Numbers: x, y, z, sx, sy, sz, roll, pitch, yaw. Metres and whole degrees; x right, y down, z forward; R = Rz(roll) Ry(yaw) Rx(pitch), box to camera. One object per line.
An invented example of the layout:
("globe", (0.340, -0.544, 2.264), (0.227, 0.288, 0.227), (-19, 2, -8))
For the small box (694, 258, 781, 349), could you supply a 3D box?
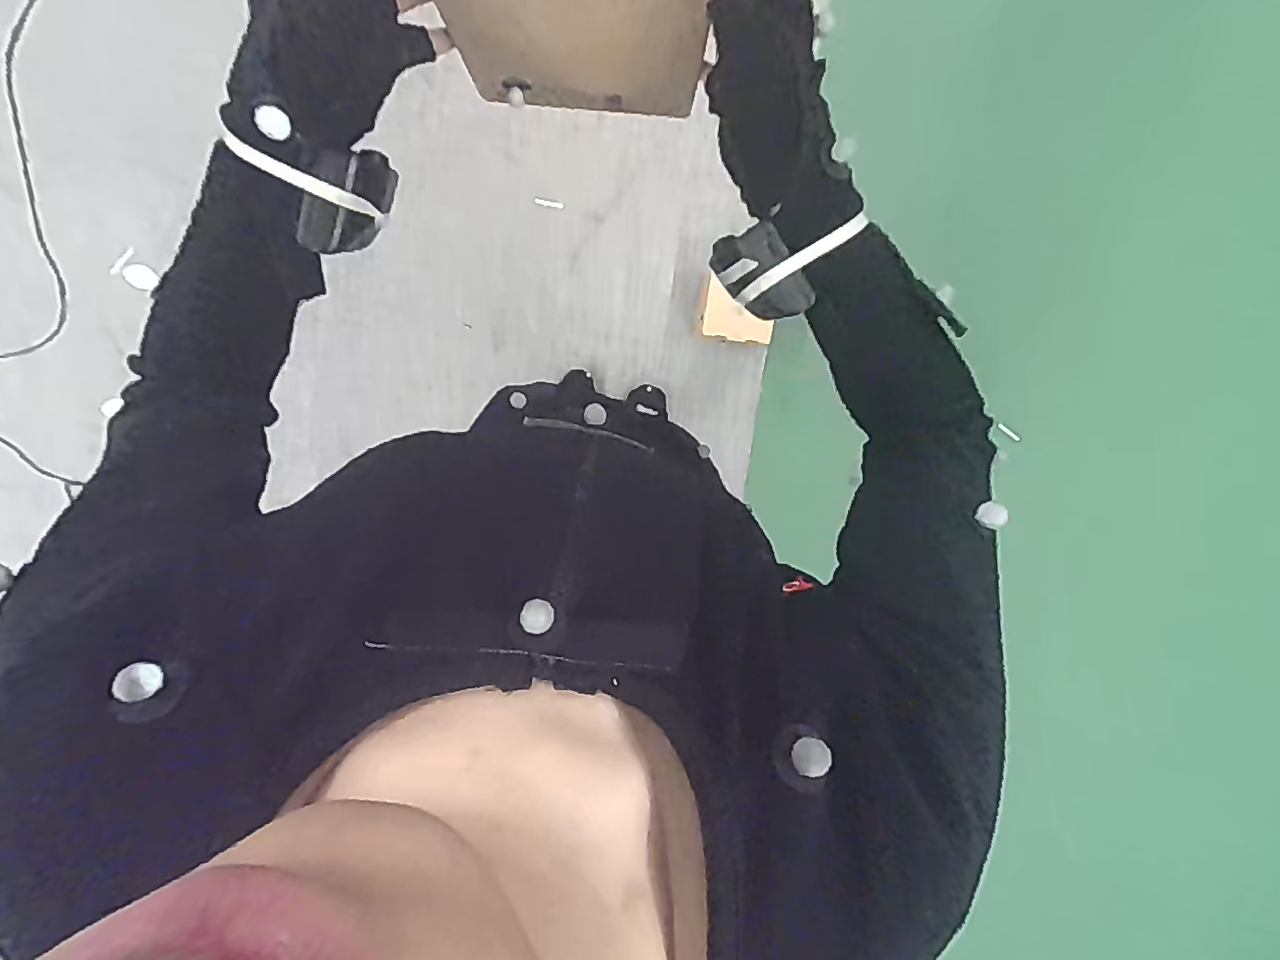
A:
("small box", (0.231, -0.427, 1.328), (0.168, 0.176, 0.179), (7, 100, -2))
